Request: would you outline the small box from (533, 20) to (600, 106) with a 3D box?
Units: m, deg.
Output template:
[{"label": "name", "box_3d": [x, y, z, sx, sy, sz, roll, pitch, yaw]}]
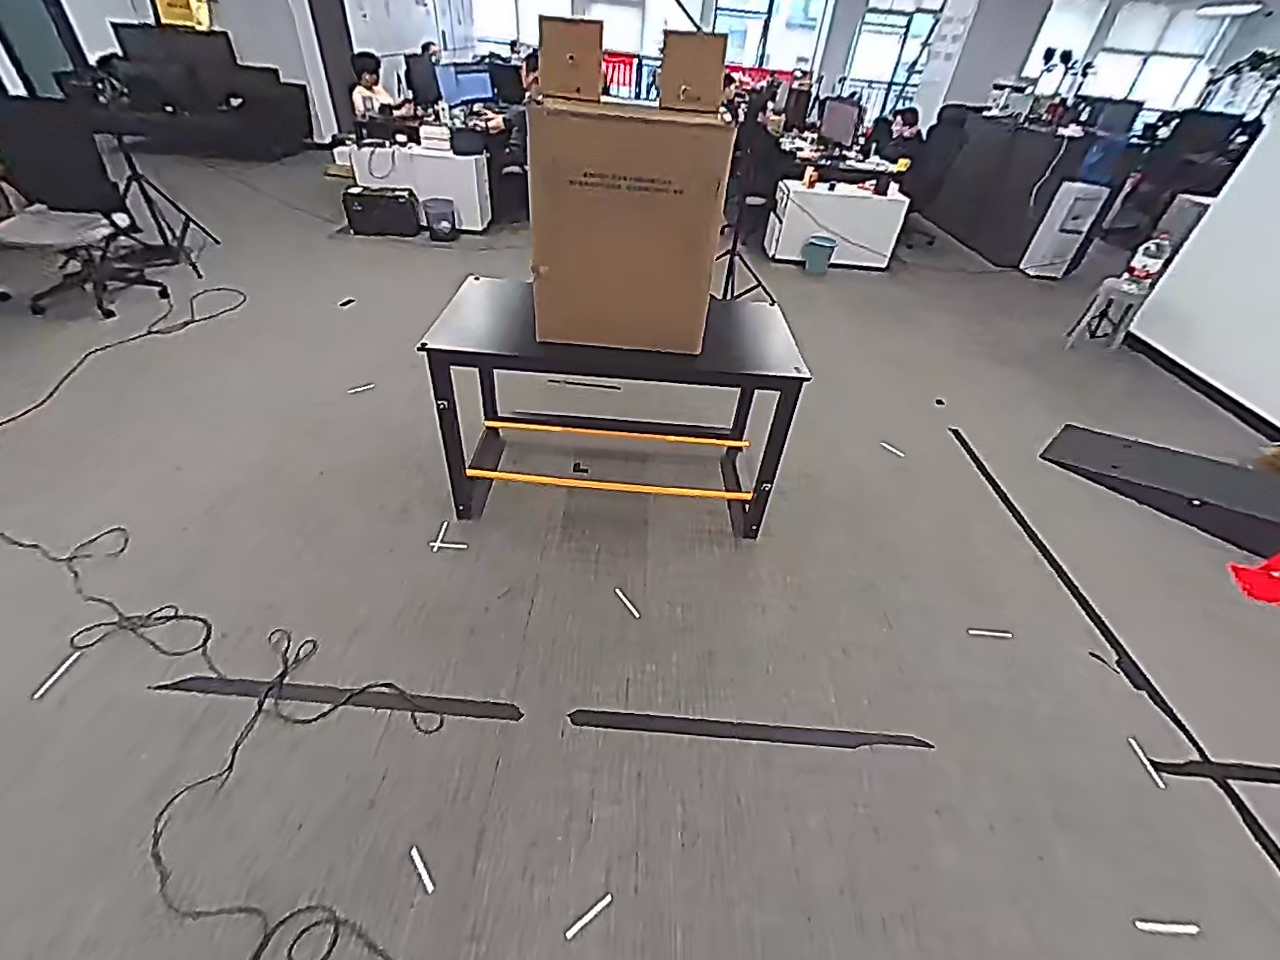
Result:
[{"label": "small box", "box_3d": [-0.193, -1.124, 1.459, 0.168, 0.176, 0.179, 2, 39, -6]}]

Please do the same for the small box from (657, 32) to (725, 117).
[{"label": "small box", "box_3d": [0.134, -1.096, 1.463, 0.168, 0.176, 0.179, 3, 39, 1]}]
